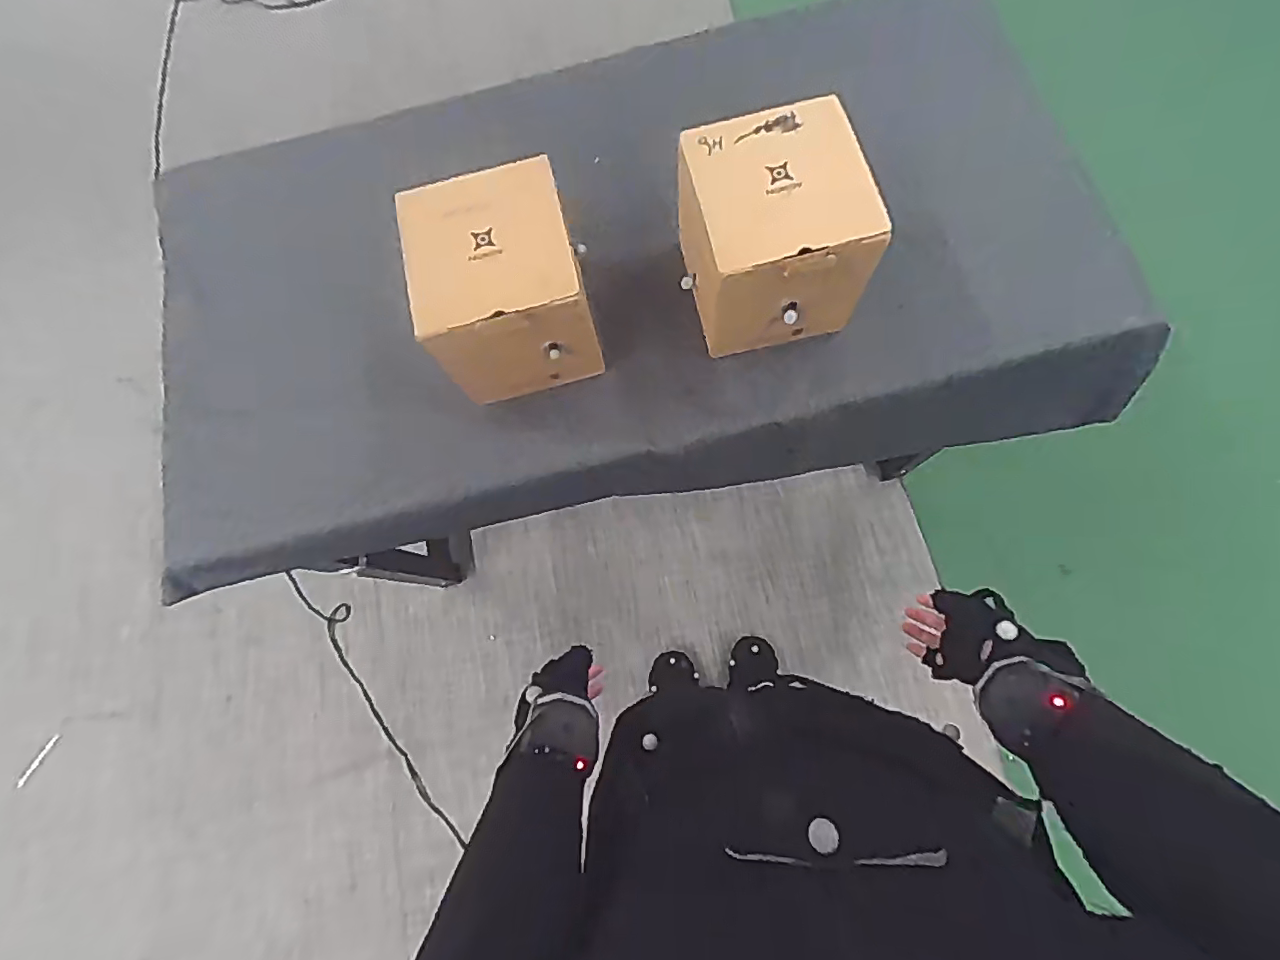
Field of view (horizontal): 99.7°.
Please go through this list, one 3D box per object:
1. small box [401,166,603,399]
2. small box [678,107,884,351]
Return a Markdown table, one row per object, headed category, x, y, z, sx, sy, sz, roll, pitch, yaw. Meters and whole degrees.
| category | x | y | z | sx | sy | sz | roll | pitch | yaw |
| --- | --- | --- | --- | --- | --- | --- | --- | --- | --- |
| small box | -0.147 | -0.209 | 0.621 | 0.168 | 0.176 | 0.179 | -15 | 73 | -1 |
| small box | 0.143 | -0.264 | 0.610 | 0.168 | 0.176 | 0.179 | -13 | 75 | 1 |
